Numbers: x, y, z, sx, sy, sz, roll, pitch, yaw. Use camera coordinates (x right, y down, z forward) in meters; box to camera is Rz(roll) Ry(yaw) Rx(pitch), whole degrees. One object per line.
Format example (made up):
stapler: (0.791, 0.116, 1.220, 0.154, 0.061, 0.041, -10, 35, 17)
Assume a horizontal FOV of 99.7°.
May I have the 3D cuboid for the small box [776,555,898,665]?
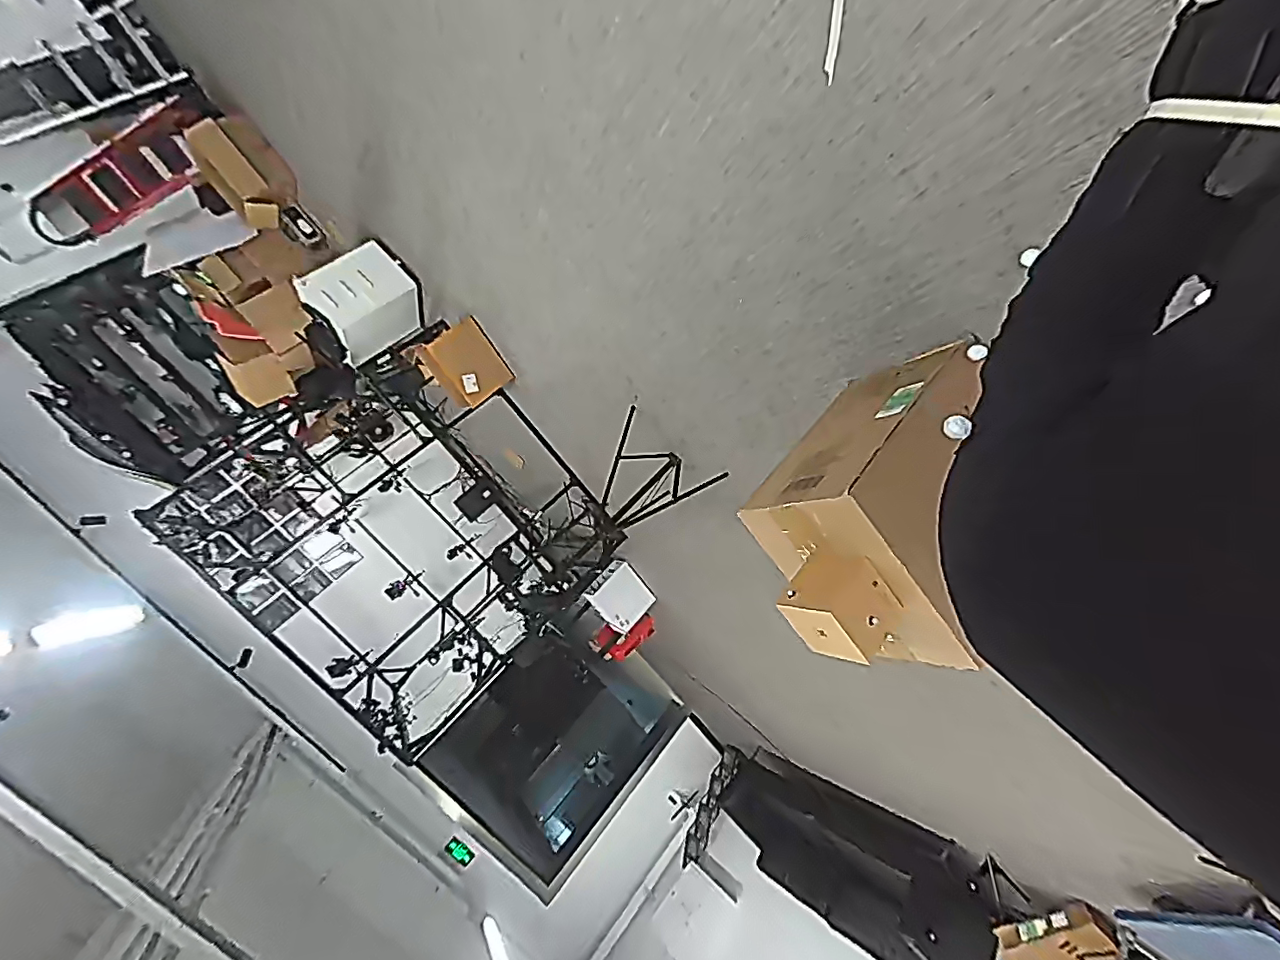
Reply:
small box: (0.452, 0.286, 1.226, 0.168, 0.176, 0.179, 51, 156, -13)
